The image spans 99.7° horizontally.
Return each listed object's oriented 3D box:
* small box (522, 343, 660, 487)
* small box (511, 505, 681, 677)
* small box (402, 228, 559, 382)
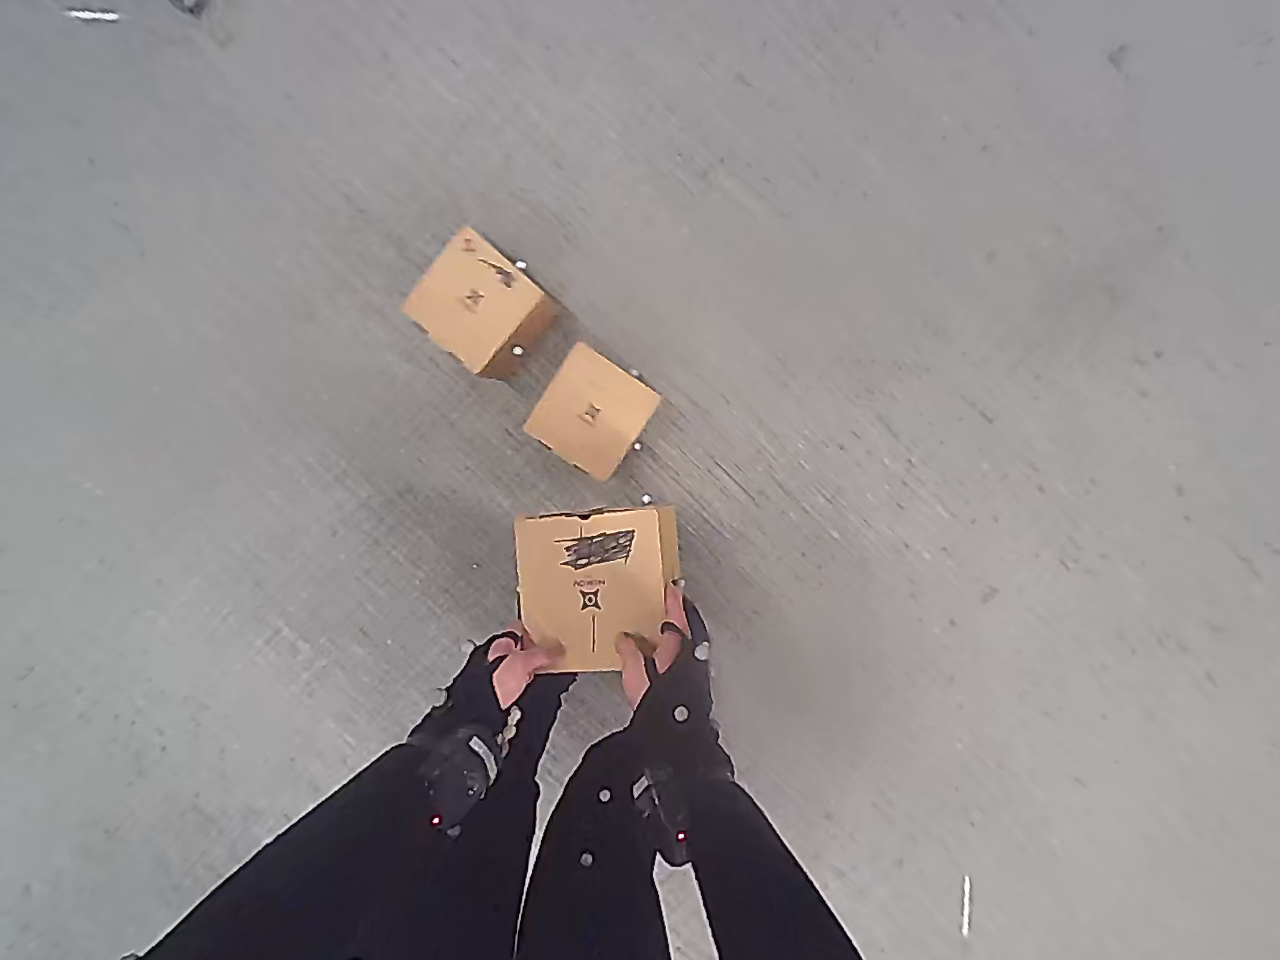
[{"bbox_3d":[-0.077,-0.110,0.948,0.168,0.176,0.179,34,95,-2],"label":"small box"},{"bbox_3d":[-0.044,0.124,0.654,0.168,0.176,0.179,-5,87,10],"label":"small box"},{"bbox_3d":[-0.262,-0.288,0.937,0.168,0.176,0.179,42,96,-2],"label":"small box"}]
